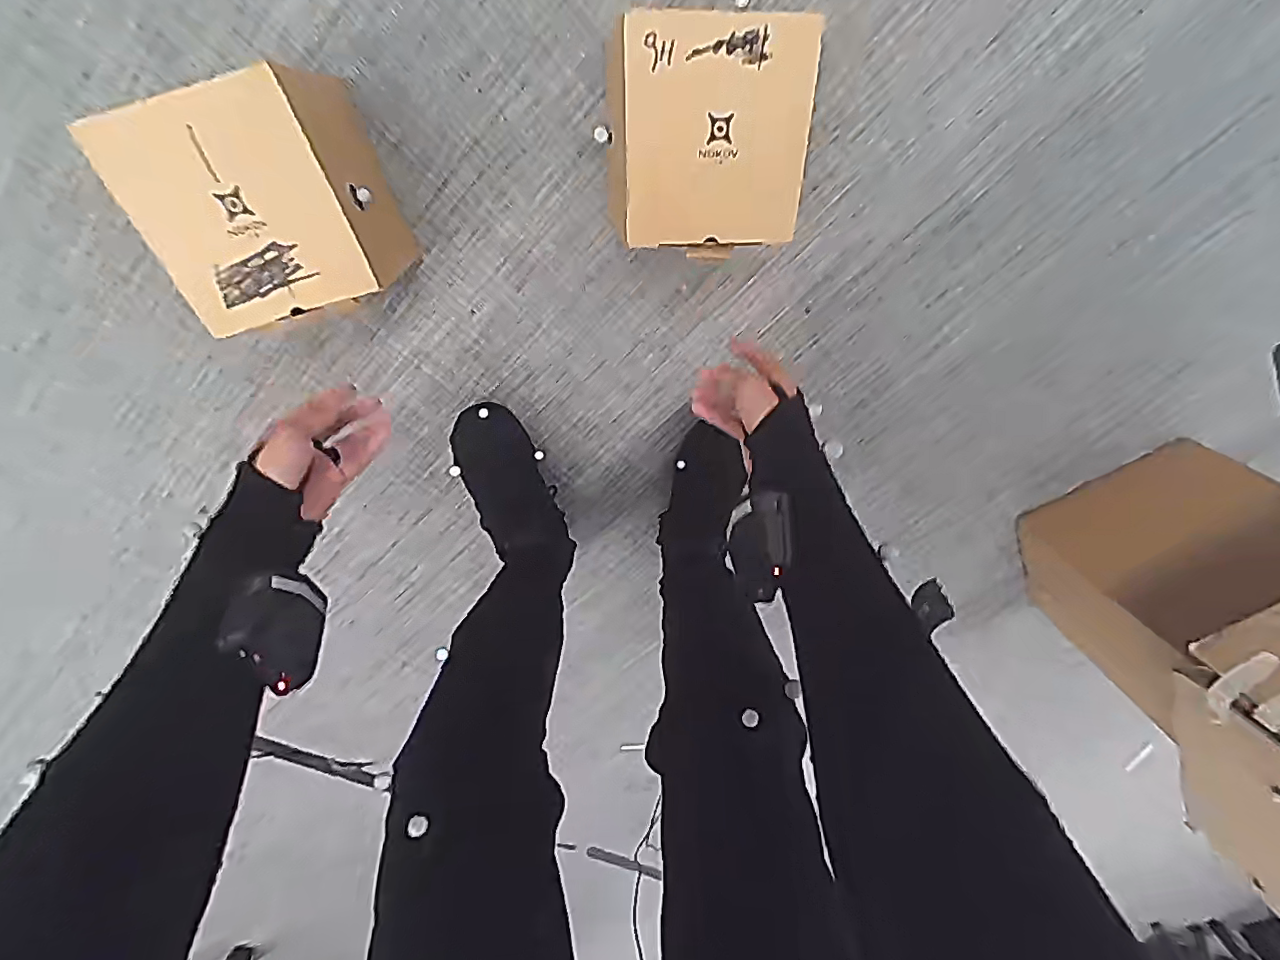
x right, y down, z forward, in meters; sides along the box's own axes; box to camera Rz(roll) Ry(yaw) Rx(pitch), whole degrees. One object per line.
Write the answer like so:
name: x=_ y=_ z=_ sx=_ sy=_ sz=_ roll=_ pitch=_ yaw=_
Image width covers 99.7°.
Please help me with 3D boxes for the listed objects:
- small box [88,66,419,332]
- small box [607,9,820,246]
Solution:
small box: x=-0.343 y=-0.273 z=0.532 sx=0.168 sy=0.176 sz=0.179 roll=-16 pitch=123 yaw=2
small box: x=0.056 y=-0.347 z=0.546 sx=0.168 sy=0.176 sz=0.179 roll=-4 pitch=124 yaw=-7
